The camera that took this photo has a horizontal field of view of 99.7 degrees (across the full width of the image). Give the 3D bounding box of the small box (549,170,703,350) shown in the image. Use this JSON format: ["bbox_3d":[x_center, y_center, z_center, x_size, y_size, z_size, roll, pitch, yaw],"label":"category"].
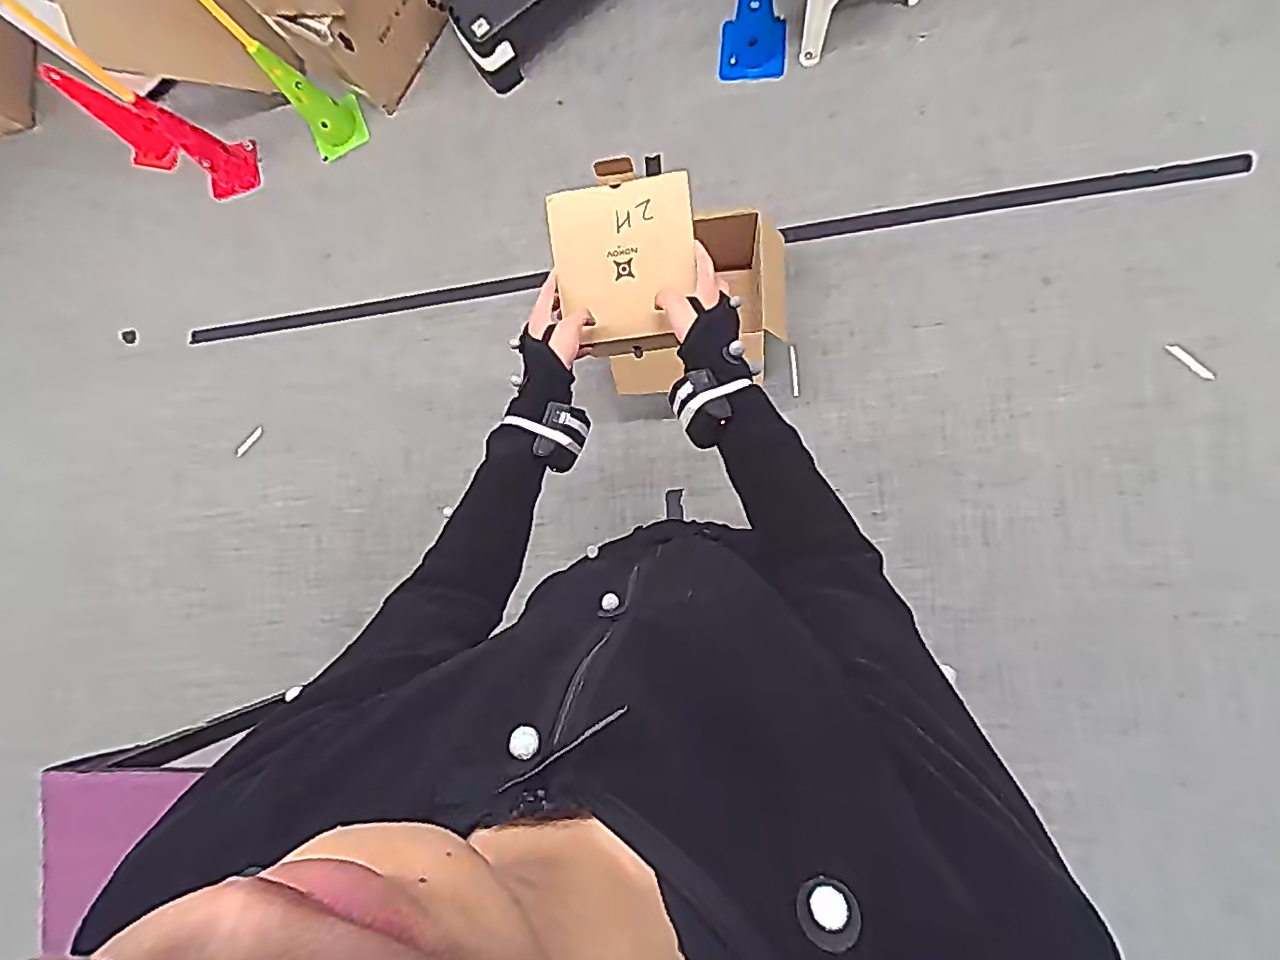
[{"bbox_3d":[-0.006,-0.268,0.704,0.168,0.176,0.179,-5,97,8],"label":"small box"}]
